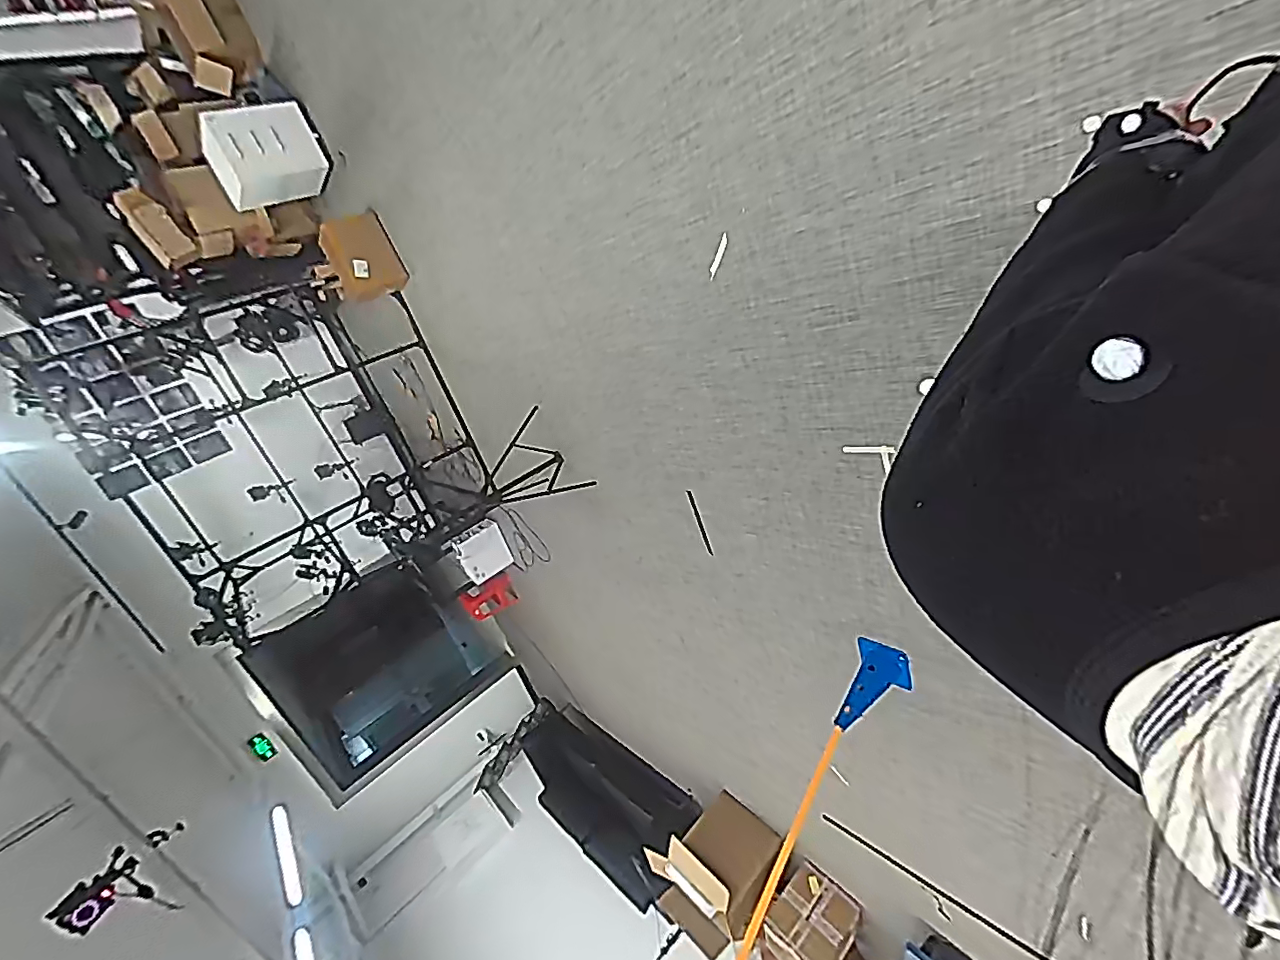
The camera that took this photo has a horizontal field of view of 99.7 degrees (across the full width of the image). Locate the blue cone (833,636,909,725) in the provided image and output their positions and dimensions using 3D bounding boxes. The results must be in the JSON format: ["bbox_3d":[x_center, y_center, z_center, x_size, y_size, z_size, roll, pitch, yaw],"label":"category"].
[{"bbox_3d":[0.843,0.789,2.041,0.193,0.380,0.192,13,128,49],"label":"blue cone"}]
